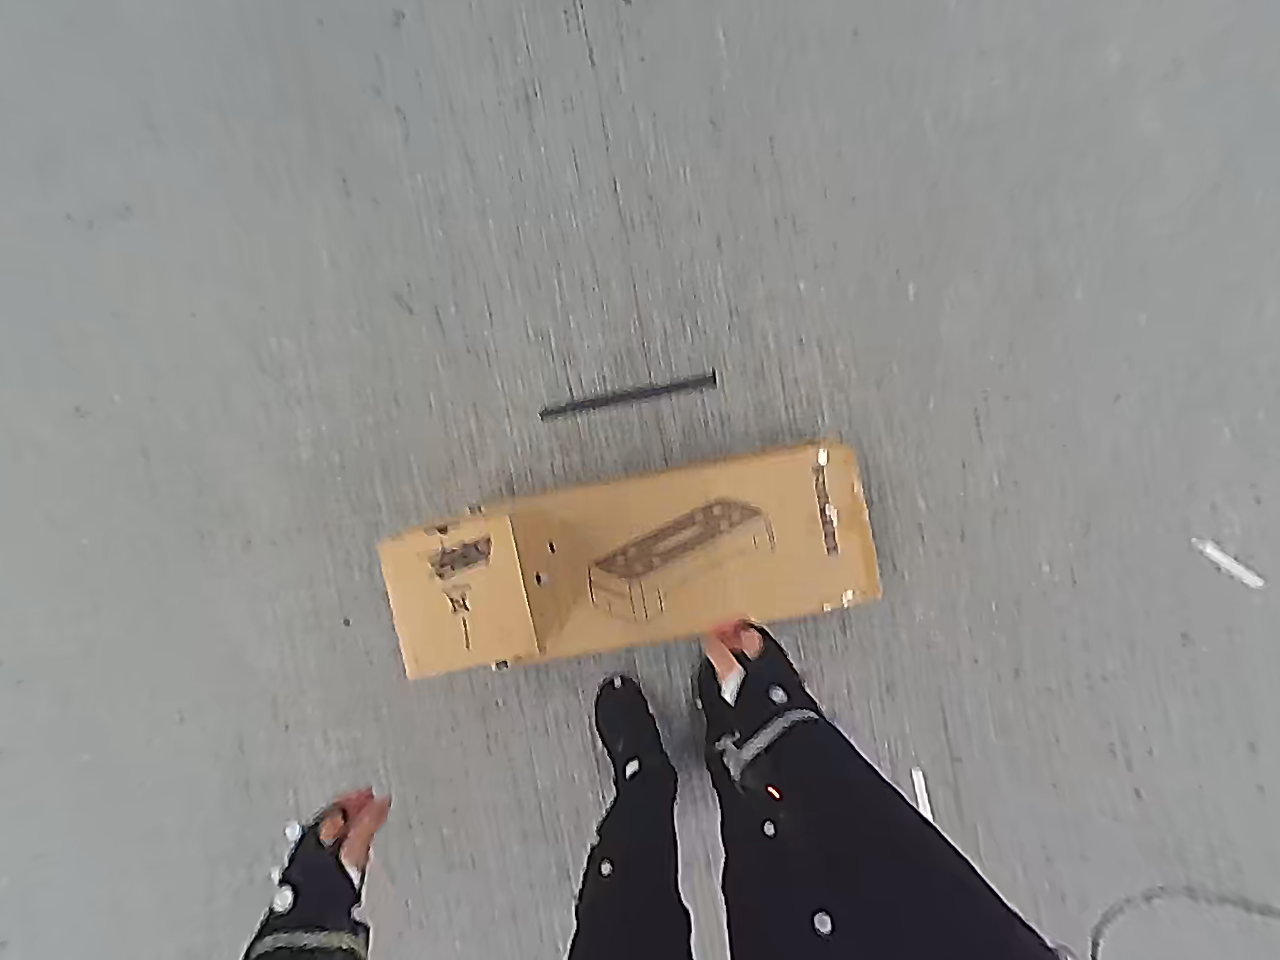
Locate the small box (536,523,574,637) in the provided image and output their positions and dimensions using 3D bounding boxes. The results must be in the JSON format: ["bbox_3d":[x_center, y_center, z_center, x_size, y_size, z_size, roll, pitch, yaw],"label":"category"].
[{"bbox_3d":[-0.212,0.170,0.908,0.168,0.176,0.179,-11,88,0],"label":"small box"}]

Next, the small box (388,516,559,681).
[{"bbox_3d":[-0.217,0.149,0.745,0.168,0.176,0.179,-12,89,0],"label":"small box"}]
